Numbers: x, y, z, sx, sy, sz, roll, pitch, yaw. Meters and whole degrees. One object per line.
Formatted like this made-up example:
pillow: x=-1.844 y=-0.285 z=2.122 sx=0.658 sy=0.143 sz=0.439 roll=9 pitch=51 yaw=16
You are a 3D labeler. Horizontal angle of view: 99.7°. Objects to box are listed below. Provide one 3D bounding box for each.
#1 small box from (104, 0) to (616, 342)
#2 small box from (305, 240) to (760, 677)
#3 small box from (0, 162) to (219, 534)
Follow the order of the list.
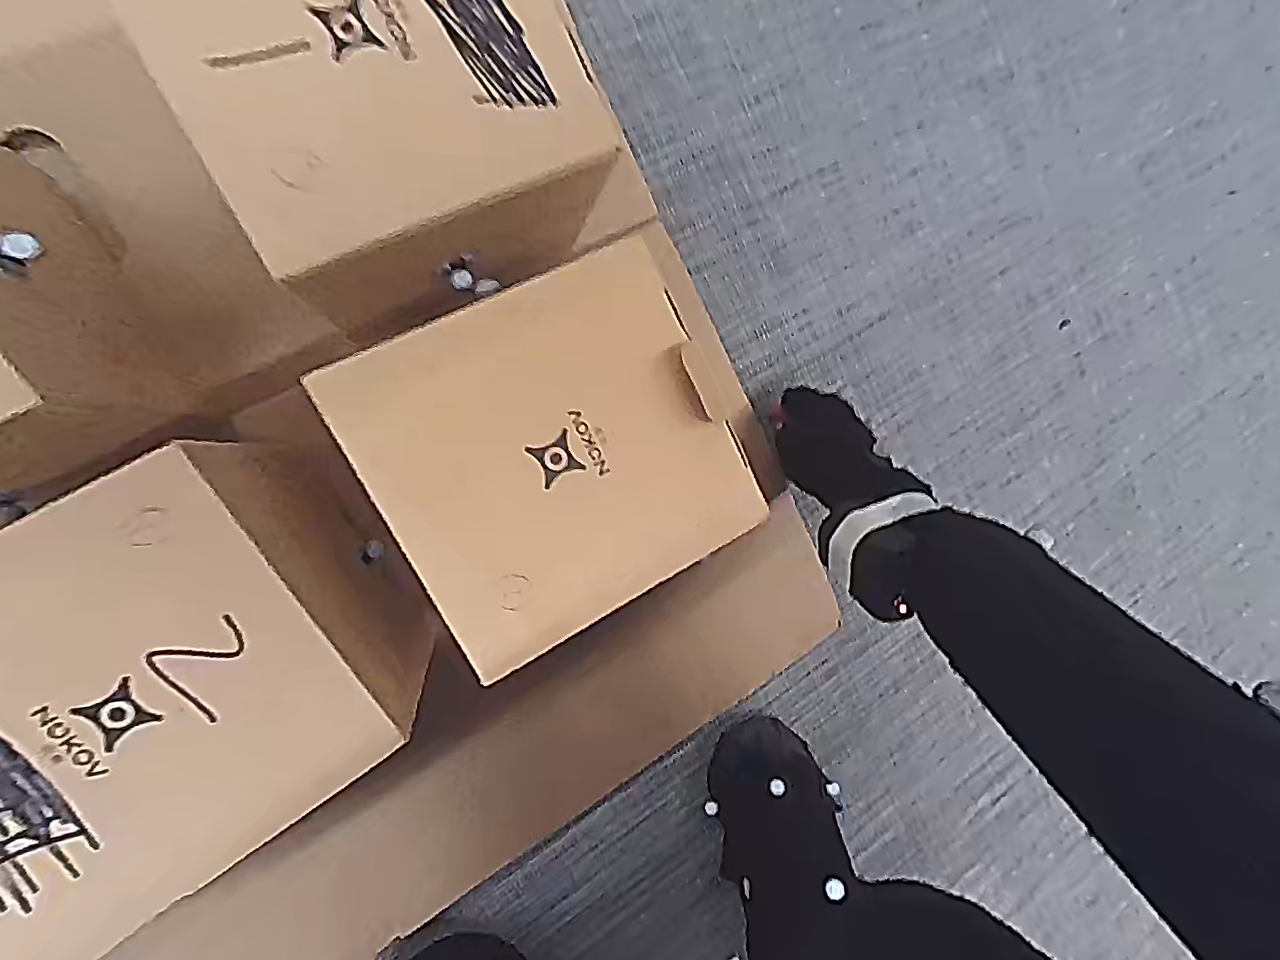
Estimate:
small box: x=-0.140 y=-0.198 z=0.313 sx=0.179 sy=0.176 sz=0.168 roll=-28 pitch=101 yaw=-12
small box: x=-0.062 y=-0.016 z=0.344 sx=0.179 sy=0.176 sz=0.168 roll=-28 pitch=101 yaw=-13
small box: x=-0.363 y=-0.063 z=0.260 sx=0.168 sy=0.176 sz=0.179 roll=-32 pitch=102 yaw=-12
